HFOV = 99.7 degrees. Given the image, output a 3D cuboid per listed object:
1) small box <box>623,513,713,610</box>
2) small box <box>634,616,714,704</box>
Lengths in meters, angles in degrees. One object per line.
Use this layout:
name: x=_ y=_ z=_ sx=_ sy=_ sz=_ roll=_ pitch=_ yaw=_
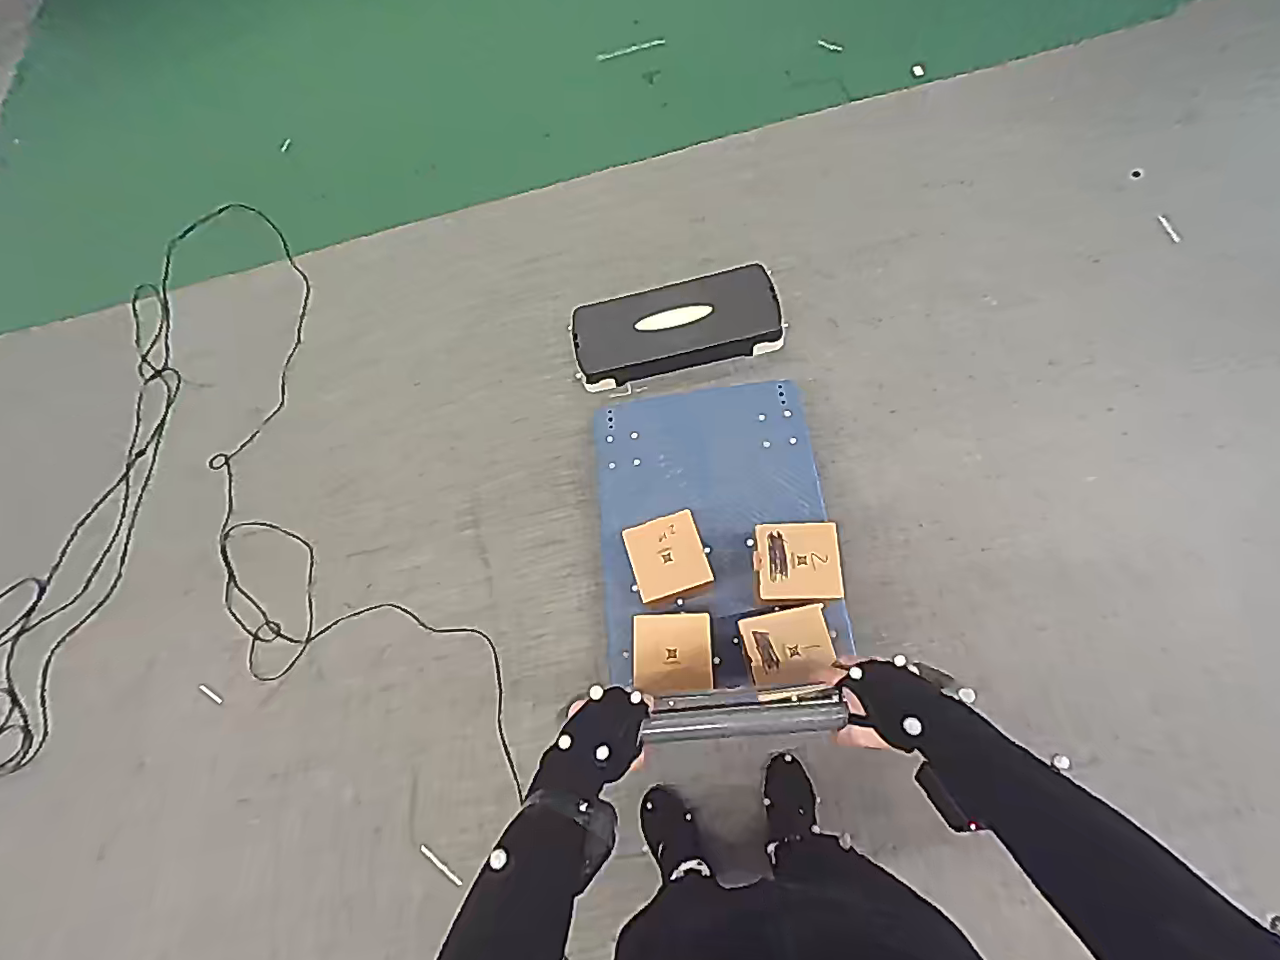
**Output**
small box: x=0.072 y=0.202 z=1.282 sx=0.168 sy=0.176 sz=0.179 roll=-17 pitch=68 yaw=1
small box: x=0.077 y=0.404 z=1.207 sx=0.168 sy=0.176 sz=0.179 roll=-3 pitch=69 yaw=7
